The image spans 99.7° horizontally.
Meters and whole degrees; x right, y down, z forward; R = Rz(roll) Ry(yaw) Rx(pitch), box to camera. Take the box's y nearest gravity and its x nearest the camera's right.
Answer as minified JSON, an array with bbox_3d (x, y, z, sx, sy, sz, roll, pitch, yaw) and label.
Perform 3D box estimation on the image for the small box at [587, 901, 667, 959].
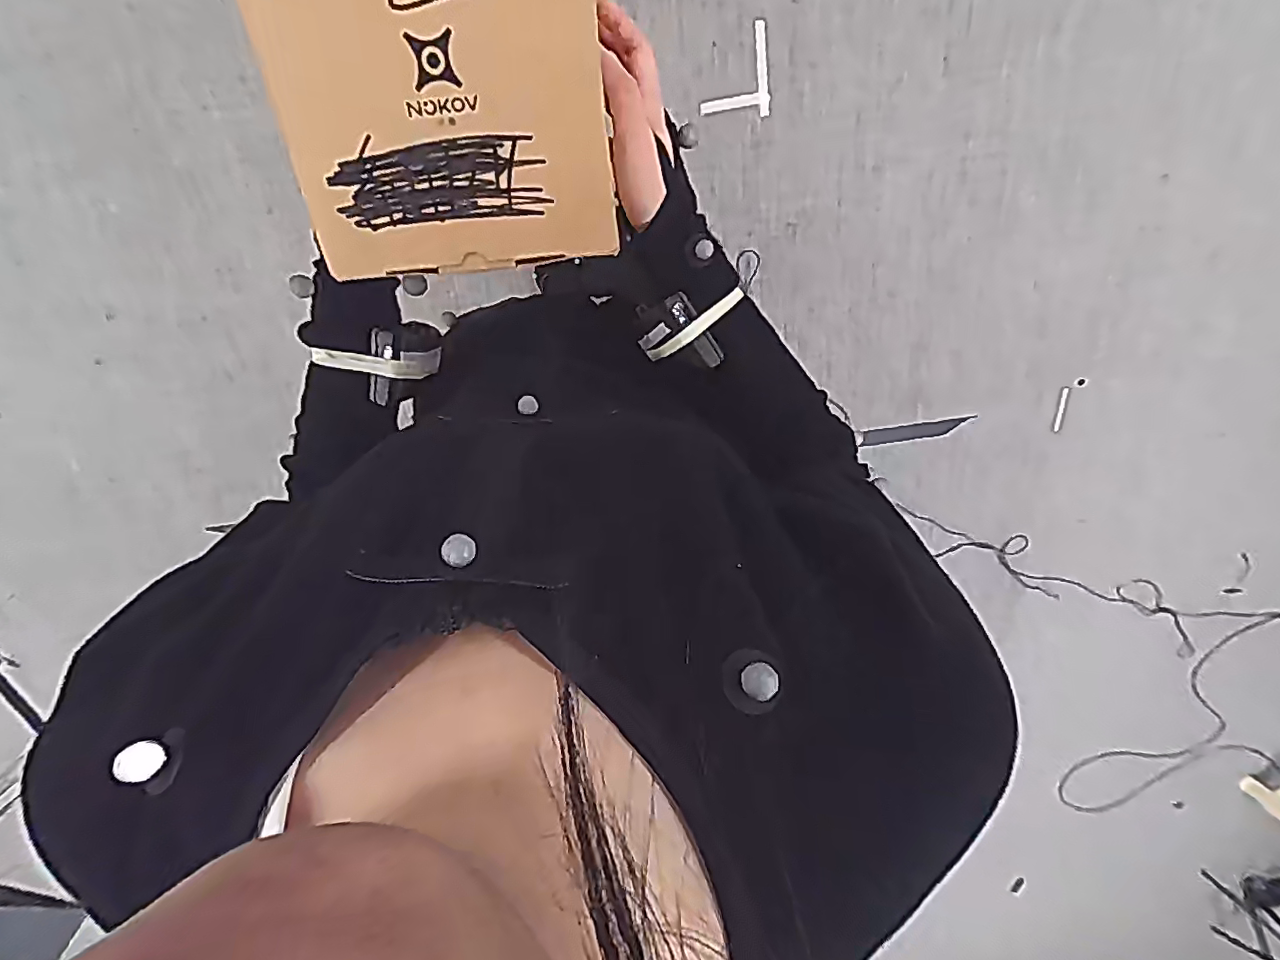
[{"bbox_3d":[-0.024,1.063,1.173,0.168,0.176,0.179,-7,116,-5],"label":"small box"}]
